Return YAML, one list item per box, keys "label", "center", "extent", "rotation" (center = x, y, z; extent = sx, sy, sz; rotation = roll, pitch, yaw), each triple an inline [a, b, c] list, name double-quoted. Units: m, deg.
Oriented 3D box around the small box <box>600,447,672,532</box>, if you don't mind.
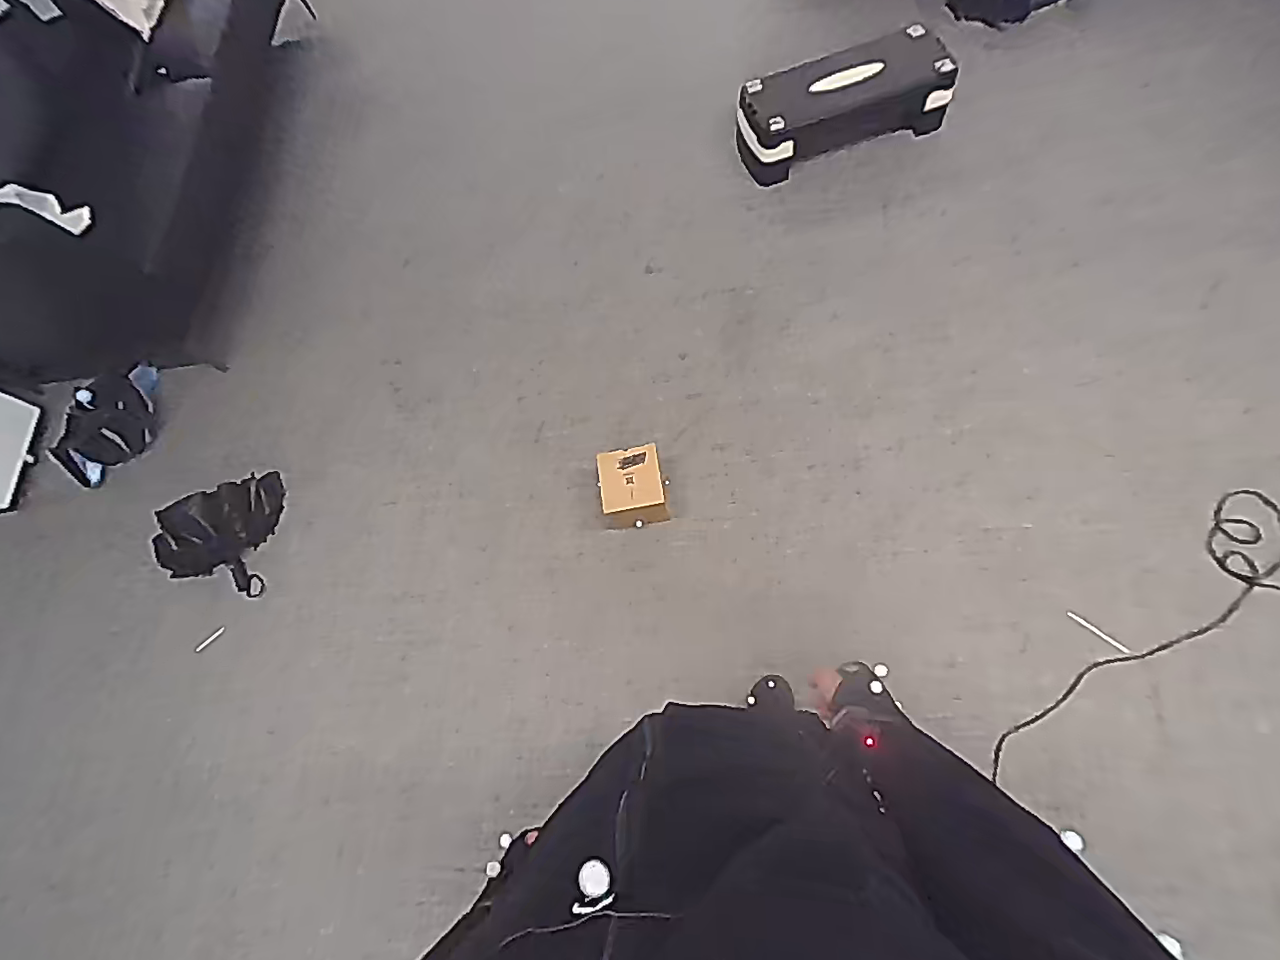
- label: "small box"
  center: [-0.009, 0.030, 1.510]
  extent: [0.168, 0.176, 0.179]
  rotation: [-11, 69, 6]
